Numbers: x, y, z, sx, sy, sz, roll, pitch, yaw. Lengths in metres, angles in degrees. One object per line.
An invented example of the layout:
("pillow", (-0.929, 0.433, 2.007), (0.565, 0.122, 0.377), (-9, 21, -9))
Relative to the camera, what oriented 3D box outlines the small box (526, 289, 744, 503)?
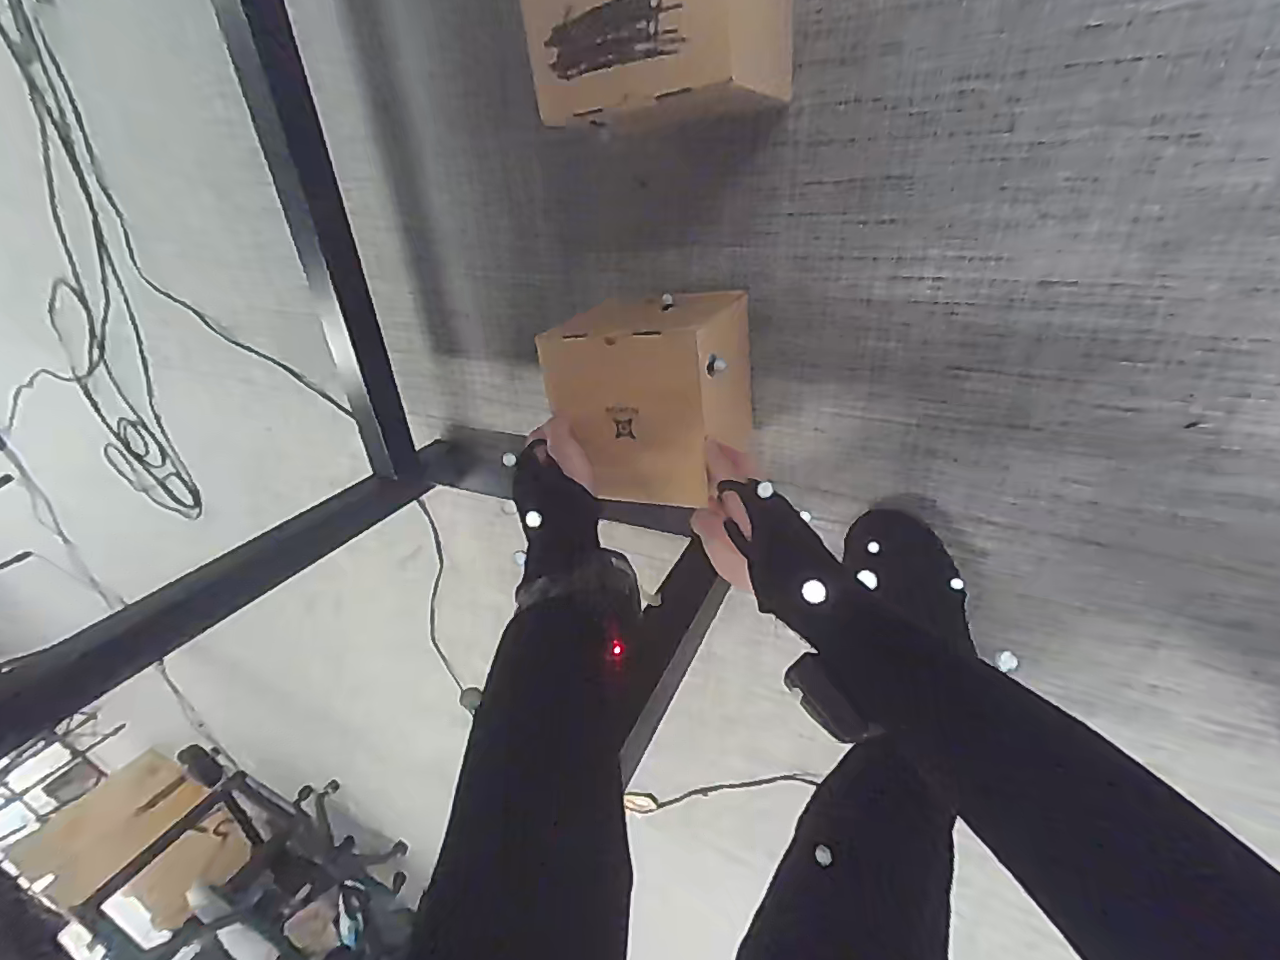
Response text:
("small box", (0.009, -0.097, 0.582), (0.168, 0.176, 0.179), (5, 118, 26))
